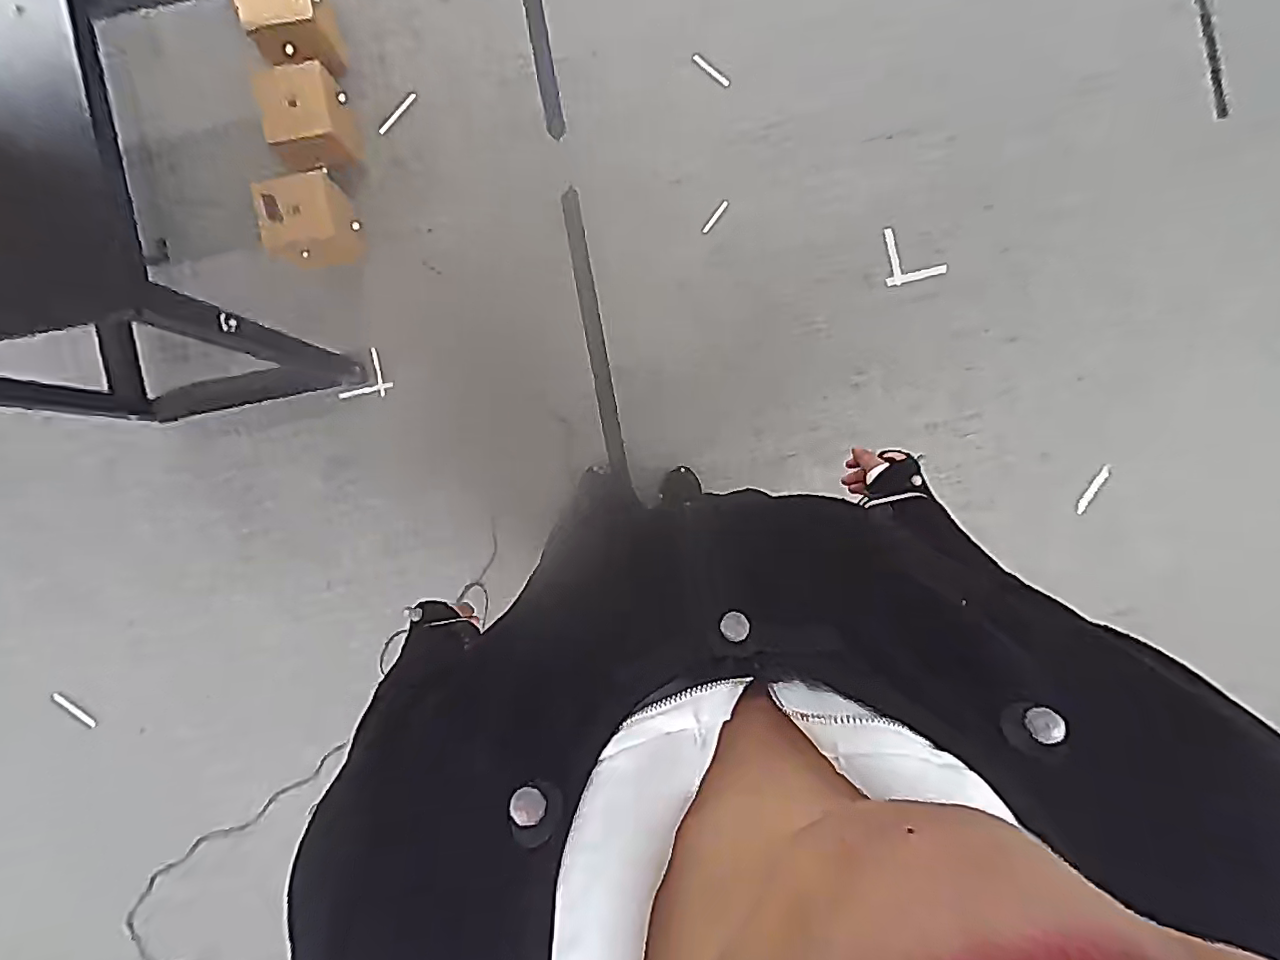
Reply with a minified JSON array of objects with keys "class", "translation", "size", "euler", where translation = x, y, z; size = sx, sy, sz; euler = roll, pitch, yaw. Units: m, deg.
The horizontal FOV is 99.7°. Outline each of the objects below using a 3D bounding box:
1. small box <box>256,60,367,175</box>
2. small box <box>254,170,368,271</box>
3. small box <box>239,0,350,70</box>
[{"class":"small box","translation":[-0.832,-0.916,1.385],"size":[0.168,0.176,0.179],"euler":[-12,92,0]},{"class":"small box","translation":[-0.836,-0.658,1.390],"size":[0.179,0.176,0.168],"euler":[-12,92,-1]},{"class":"small box","translation":[-0.878,-1.175,1.374],"size":[0.179,0.176,0.168],"euler":[-12,93,0]}]
